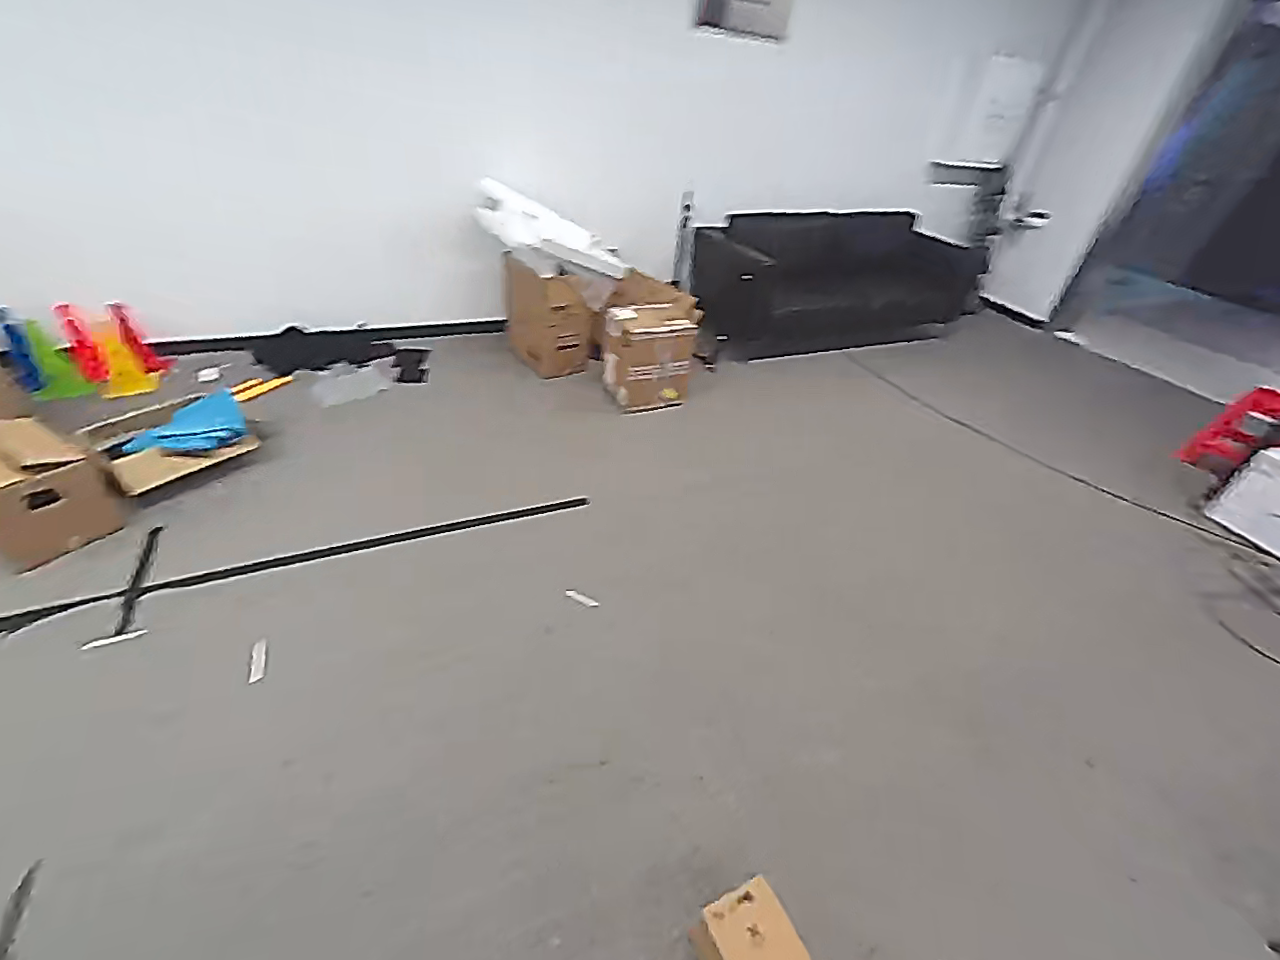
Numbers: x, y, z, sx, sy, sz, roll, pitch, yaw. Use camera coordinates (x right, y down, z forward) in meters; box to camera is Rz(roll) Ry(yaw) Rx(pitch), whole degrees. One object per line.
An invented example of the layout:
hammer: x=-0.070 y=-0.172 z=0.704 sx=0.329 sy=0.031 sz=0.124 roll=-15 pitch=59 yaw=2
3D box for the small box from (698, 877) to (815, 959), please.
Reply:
small box: x=0.243 y=1.003 z=1.152 sx=0.168 sy=0.176 sz=0.179 roll=-12 pitch=40 yaw=-23
